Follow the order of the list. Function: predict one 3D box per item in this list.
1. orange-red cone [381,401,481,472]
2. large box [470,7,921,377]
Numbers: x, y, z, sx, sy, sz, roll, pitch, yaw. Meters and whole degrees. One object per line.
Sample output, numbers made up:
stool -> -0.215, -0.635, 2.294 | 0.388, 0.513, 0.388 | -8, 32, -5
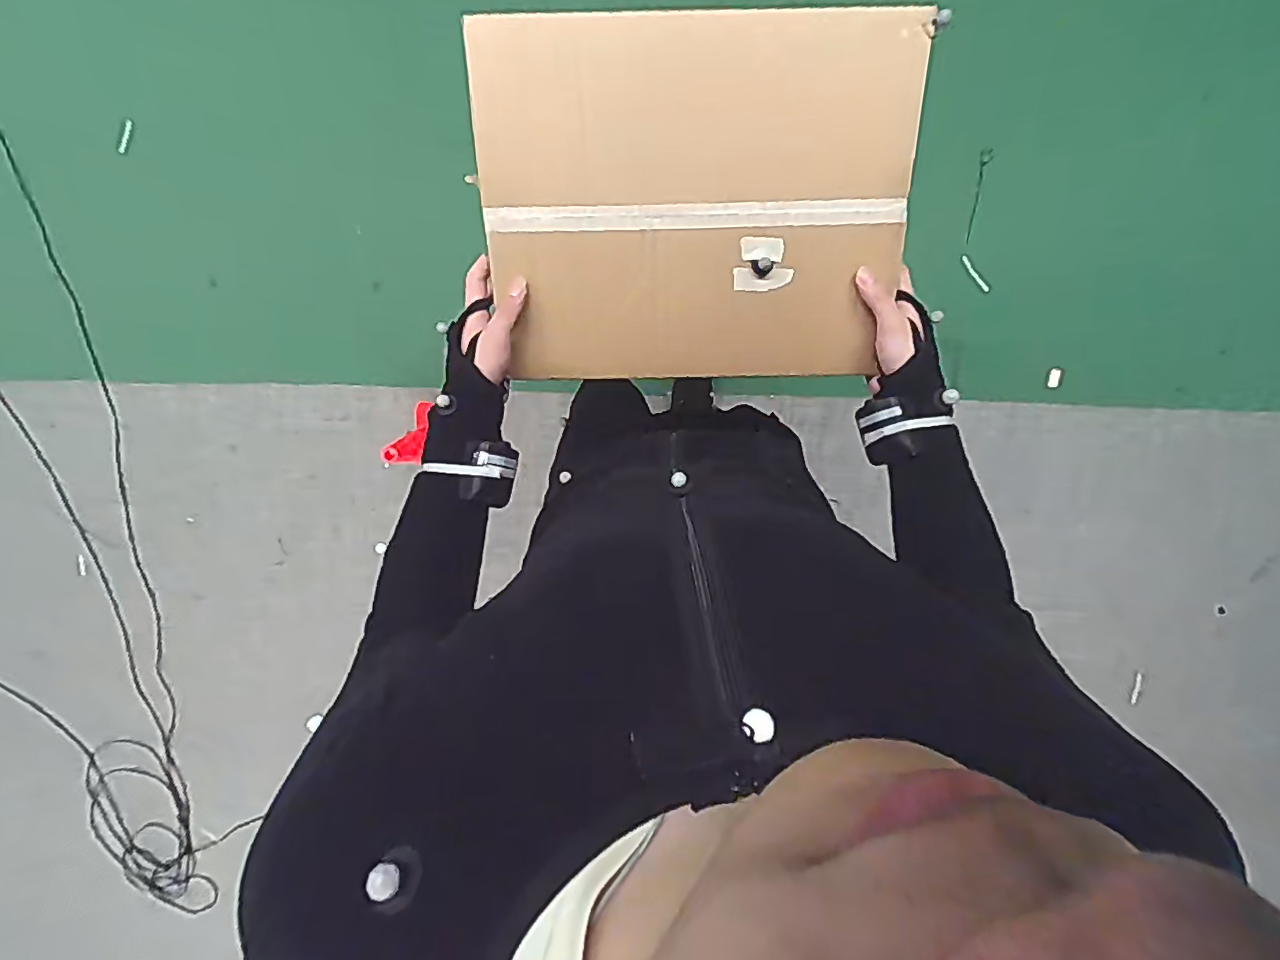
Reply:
orange-red cone -> -0.598, -0.099, 1.473 | 0.199, 0.360, 0.198 | 9, 101, 2
large box -> 0.050, -0.316, 0.663 | 0.408, 0.320, 0.320 | -2, 113, 0
